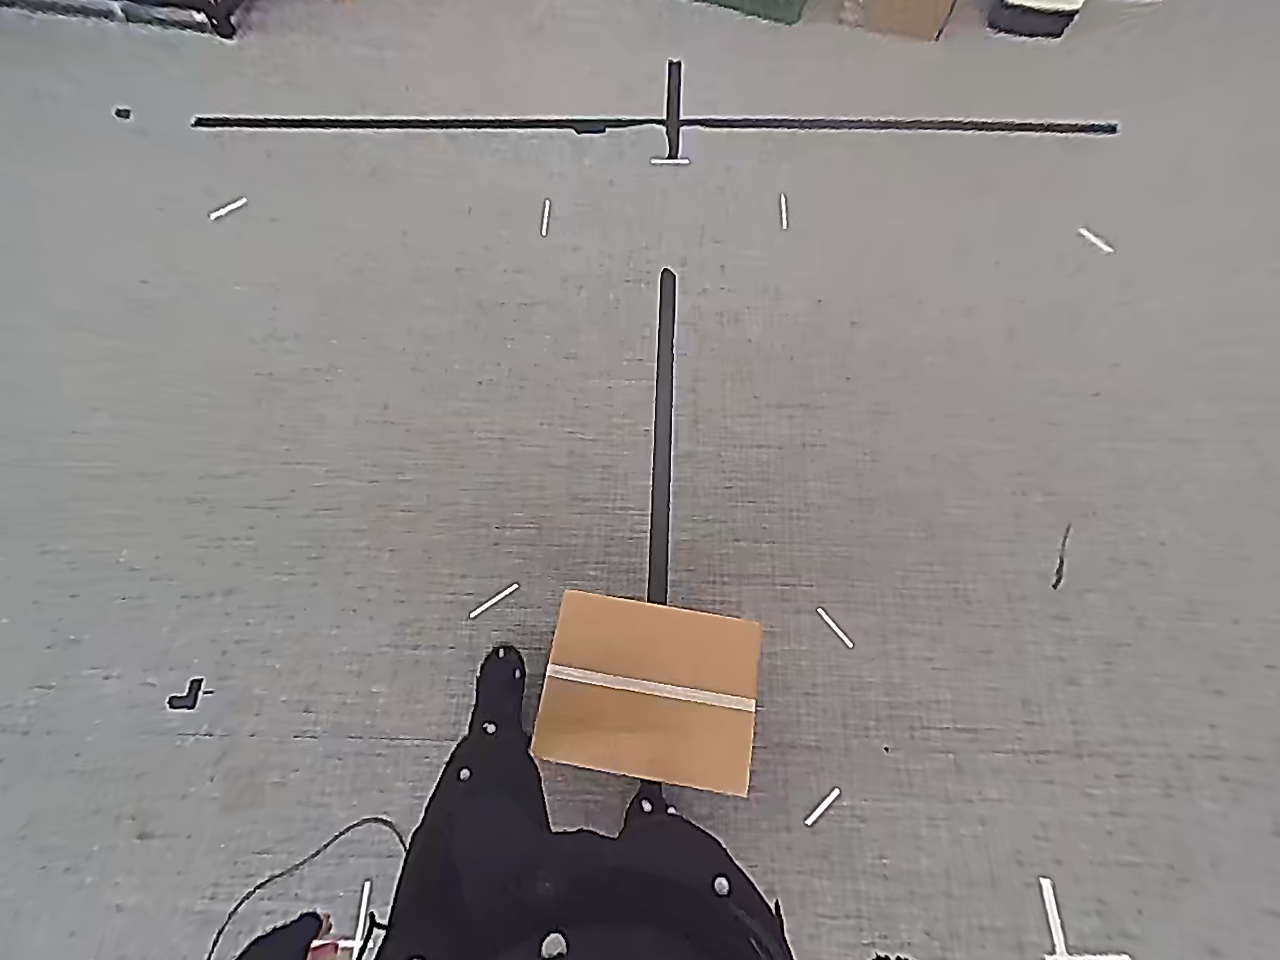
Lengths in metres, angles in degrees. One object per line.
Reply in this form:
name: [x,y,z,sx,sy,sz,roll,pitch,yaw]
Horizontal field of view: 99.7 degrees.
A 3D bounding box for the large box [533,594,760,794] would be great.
large box: [0.022,0.448,1.171,0.408,0.320,0.320,9,70,3]
